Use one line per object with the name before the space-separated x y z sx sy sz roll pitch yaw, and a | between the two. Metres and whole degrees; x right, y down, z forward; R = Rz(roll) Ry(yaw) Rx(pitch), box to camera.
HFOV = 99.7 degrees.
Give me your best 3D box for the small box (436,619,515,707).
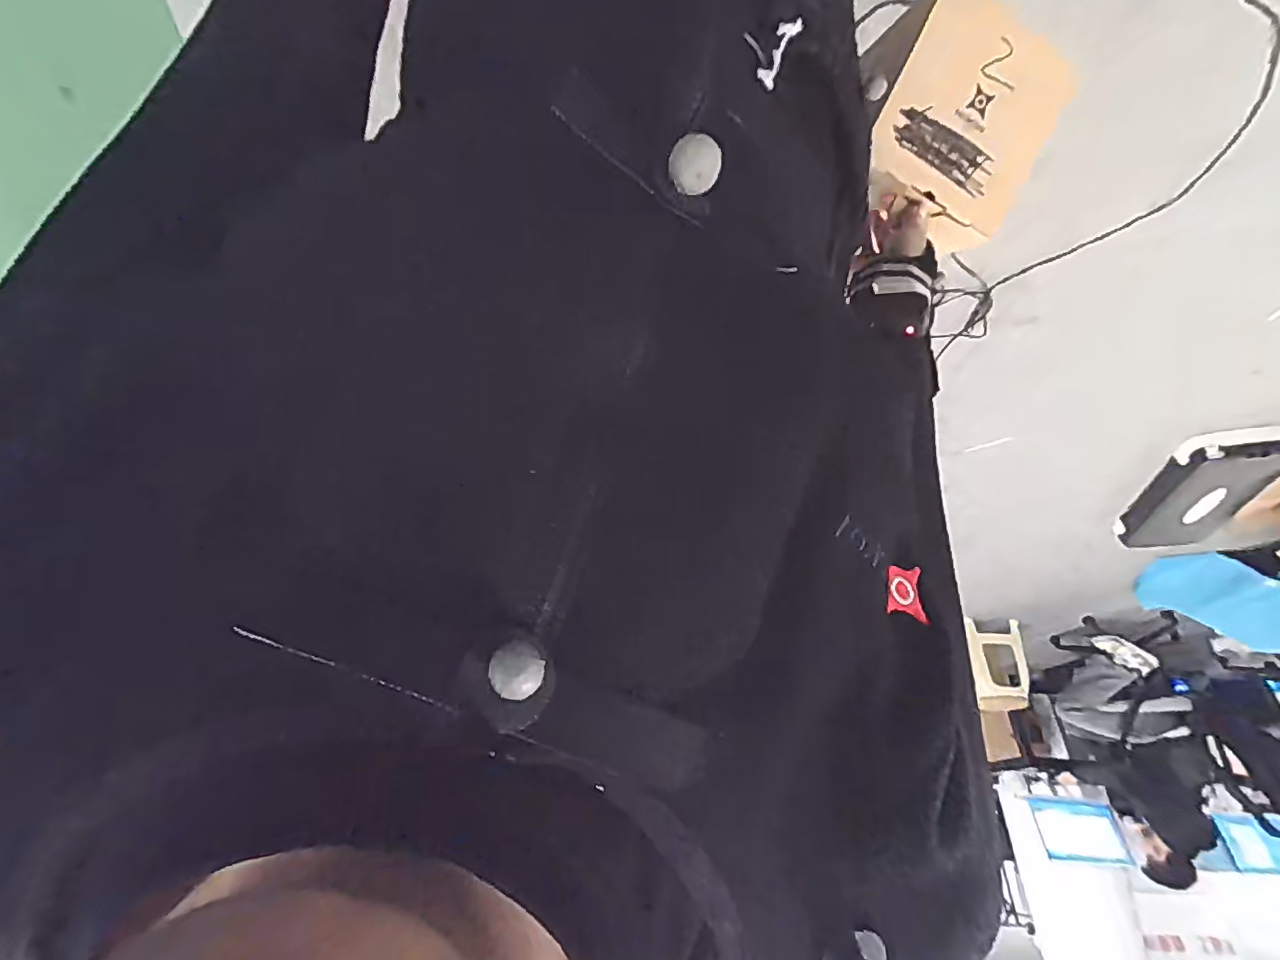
small box | -0.429 0.482 1.419 0.168 0.176 0.179 12 145 -12
